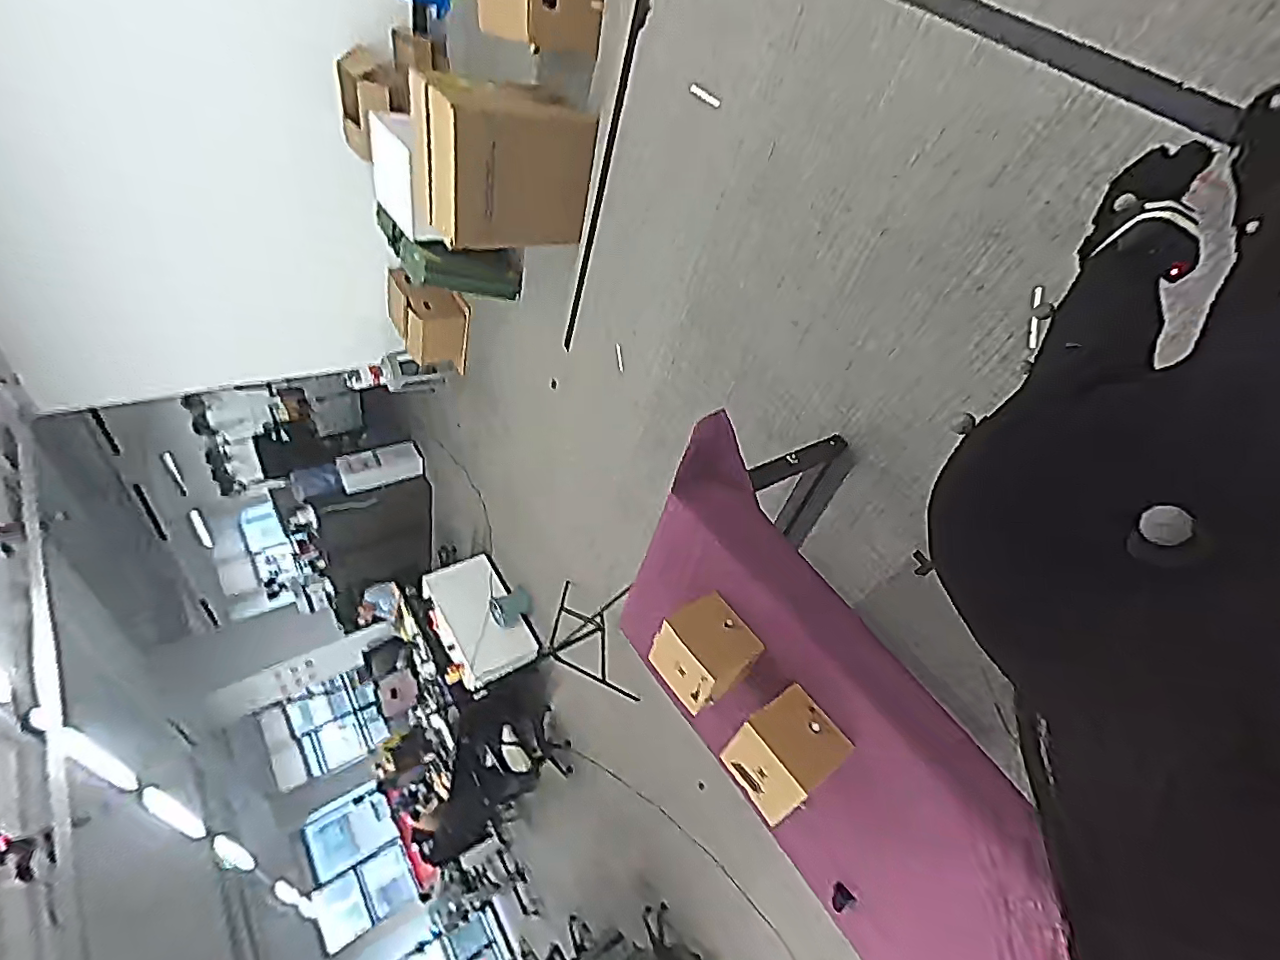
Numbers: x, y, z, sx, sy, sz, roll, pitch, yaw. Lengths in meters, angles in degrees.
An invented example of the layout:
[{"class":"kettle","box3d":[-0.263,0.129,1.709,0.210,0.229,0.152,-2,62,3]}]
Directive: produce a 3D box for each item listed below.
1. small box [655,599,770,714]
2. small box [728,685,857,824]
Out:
[{"class":"small box","box3d":[0.167,0.401,1.268,0.179,0.176,0.168,47,140,31]},{"class":"small box","box3d":[0.321,0.572,1.137,0.168,0.176,0.179,46,139,31]}]
